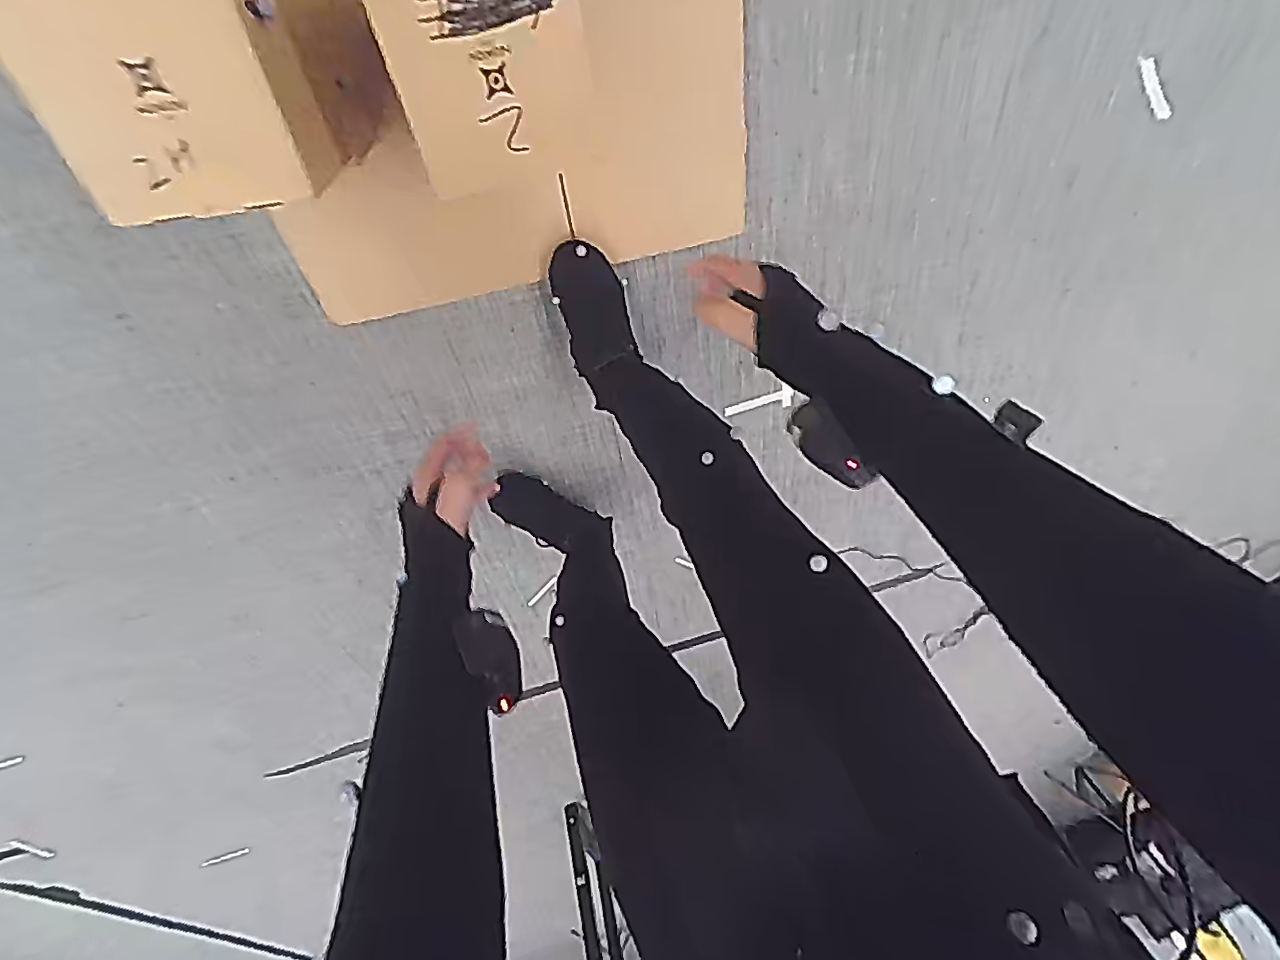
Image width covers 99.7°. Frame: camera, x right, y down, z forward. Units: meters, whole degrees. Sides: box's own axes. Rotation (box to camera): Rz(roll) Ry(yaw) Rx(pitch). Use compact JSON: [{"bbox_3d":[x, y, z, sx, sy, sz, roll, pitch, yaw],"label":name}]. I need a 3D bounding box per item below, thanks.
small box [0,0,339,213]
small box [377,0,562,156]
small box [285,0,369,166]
[{"bbox_3d":[-0.387,-0.350,0.461,0.168,0.176,0.179,-12,131,-7],"label":"small box"},{"bbox_3d":[-0.196,-0.497,0.626,0.168,0.176,0.179,-13,131,-8],"label":"small box"},{"bbox_3d":[-0.418,-0.451,0.589,0.168,0.176,0.179,-13,132,-7],"label":"small box"}]
